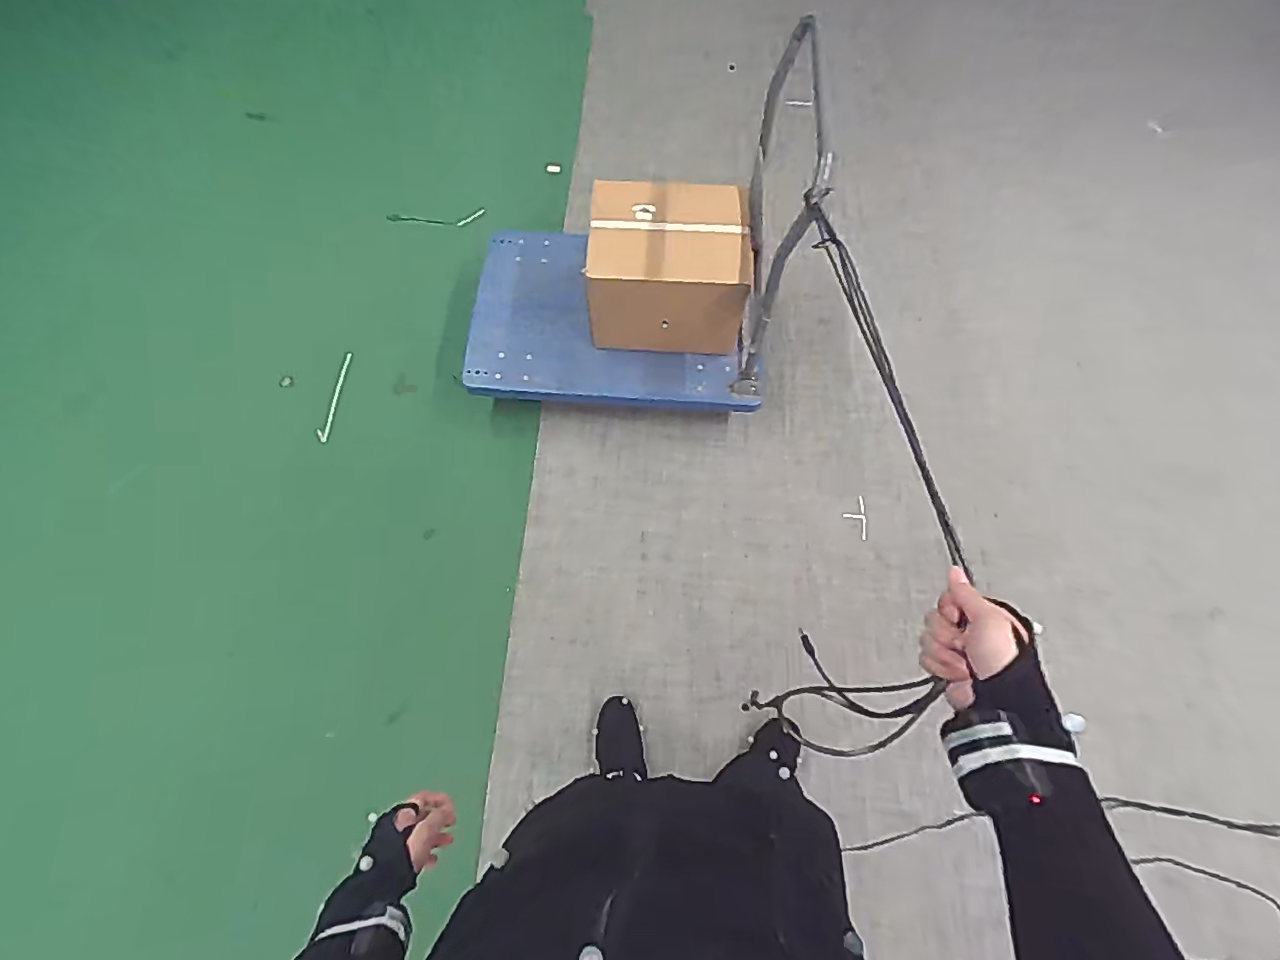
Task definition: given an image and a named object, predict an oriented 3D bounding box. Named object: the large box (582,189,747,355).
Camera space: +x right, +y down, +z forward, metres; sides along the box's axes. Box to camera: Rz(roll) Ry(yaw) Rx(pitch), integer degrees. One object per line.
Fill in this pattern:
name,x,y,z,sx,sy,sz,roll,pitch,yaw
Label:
large box,0.066,-0.560,1.488,0.408,0.320,0.320,2,70,2
